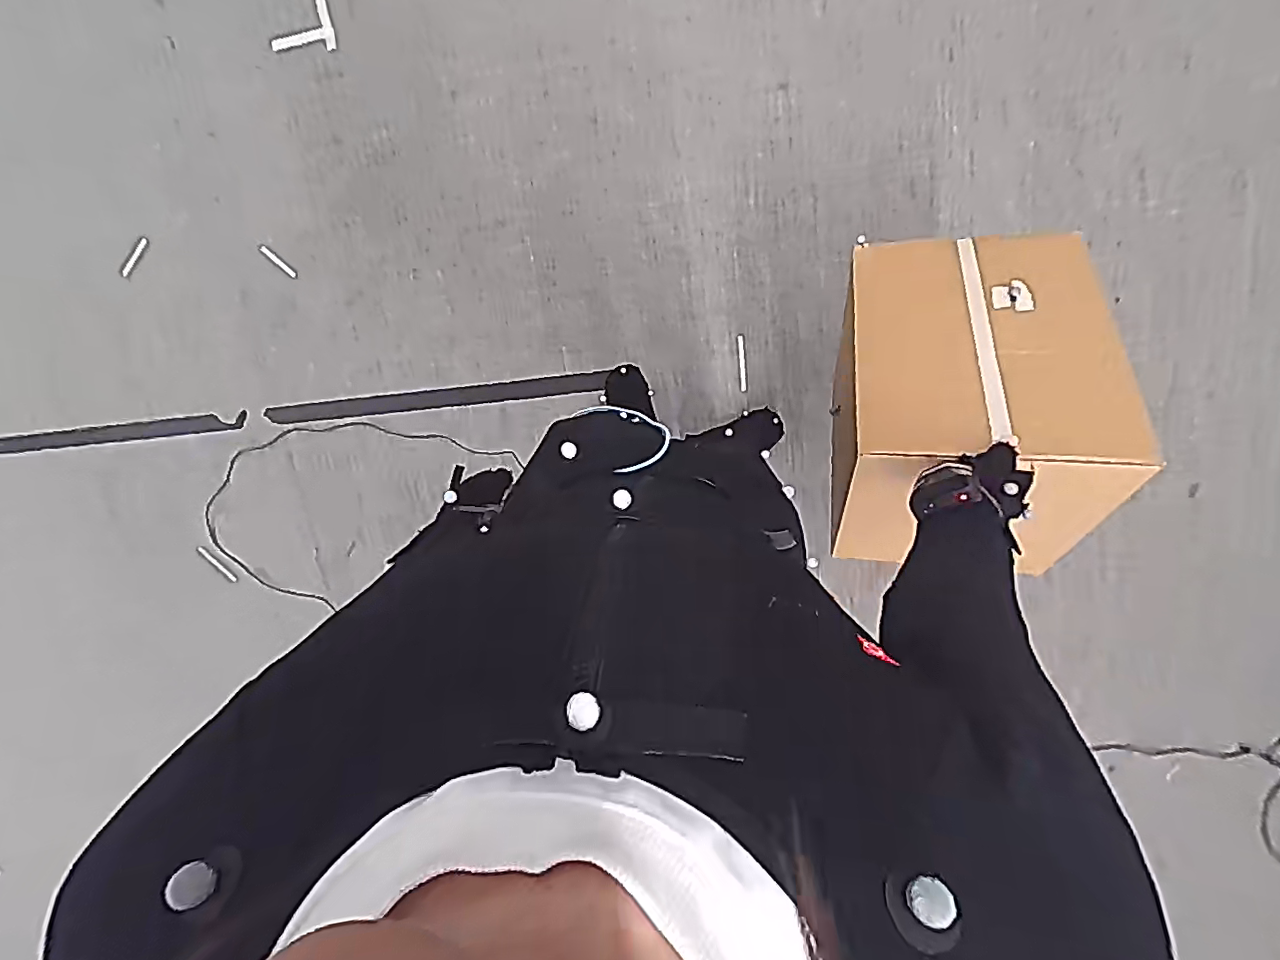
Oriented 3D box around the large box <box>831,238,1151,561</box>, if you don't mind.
[{"bbox_3d":[0.483,-0.117,0.861,0.320,0.320,0.408,3,58,13],"label":"large box"}]
